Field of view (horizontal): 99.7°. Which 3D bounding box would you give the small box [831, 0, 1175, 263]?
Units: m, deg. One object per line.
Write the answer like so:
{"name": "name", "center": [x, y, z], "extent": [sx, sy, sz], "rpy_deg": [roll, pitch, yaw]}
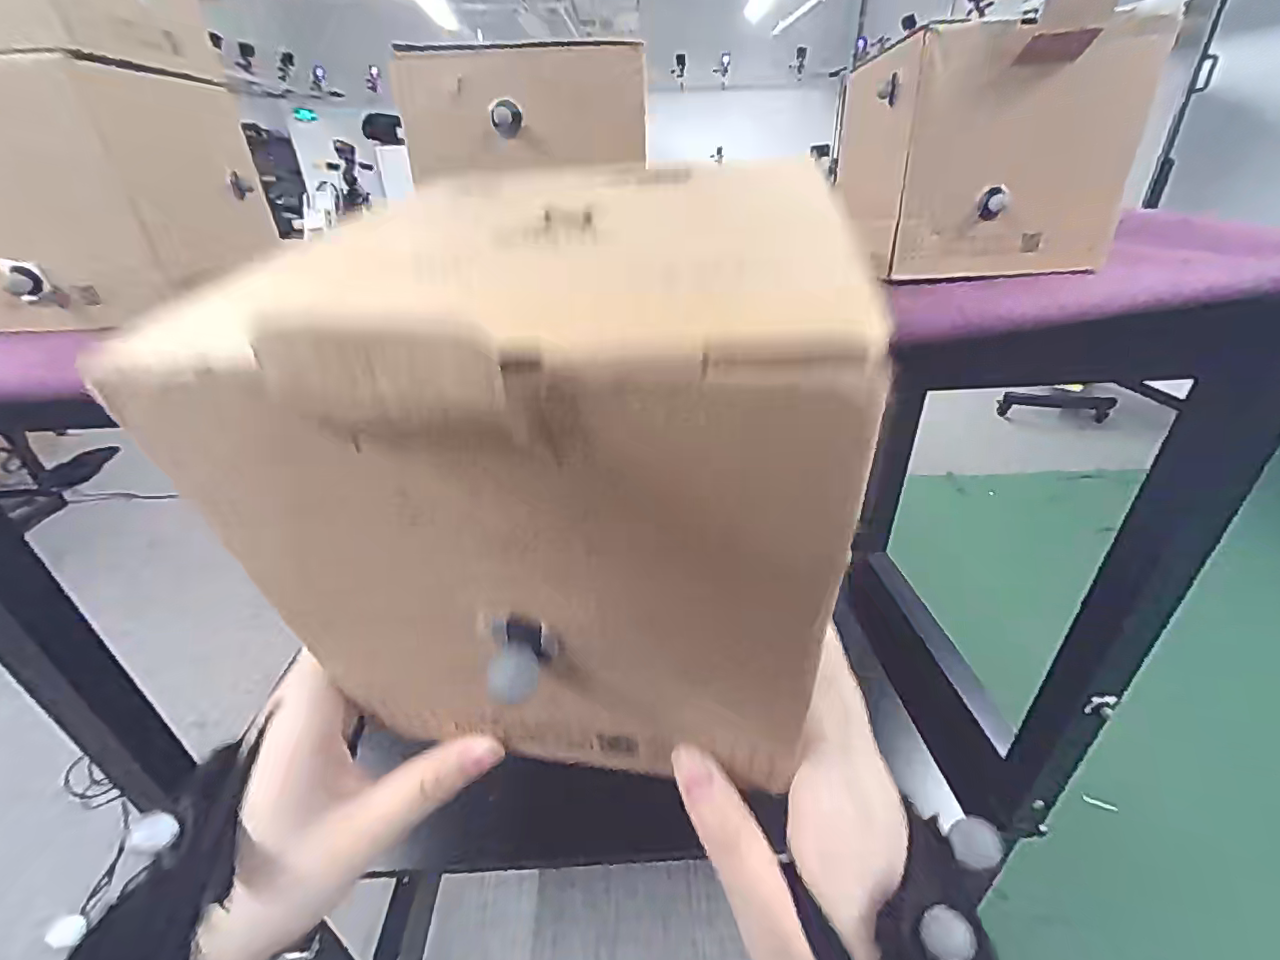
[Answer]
{"name": "small box", "center": [0.273, -0.284, 0.463], "extent": [0.168, 0.176, 0.179], "rpy_deg": [-3, 29, 3]}

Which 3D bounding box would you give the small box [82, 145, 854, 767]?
{"name": "small box", "center": [-0.021, -0.013, 0.215], "extent": [0.168, 0.176, 0.179], "rpy_deg": [2, 40, 11]}

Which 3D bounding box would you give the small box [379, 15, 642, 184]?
{"name": "small box", "center": [-0.087, -0.267, 0.467], "extent": [0.179, 0.176, 0.168], "rpy_deg": [-2, 29, 0]}

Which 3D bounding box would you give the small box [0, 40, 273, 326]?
{"name": "small box", "center": [-0.434, -0.229, 0.433], "extent": [0.168, 0.176, 0.179], "rpy_deg": [-6, 32, -3]}

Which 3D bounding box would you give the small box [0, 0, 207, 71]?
{"name": "small box", "center": [-0.447, -0.371, 0.350], "extent": [0.179, 0.176, 0.168], "rpy_deg": [-6, 31, -4]}
